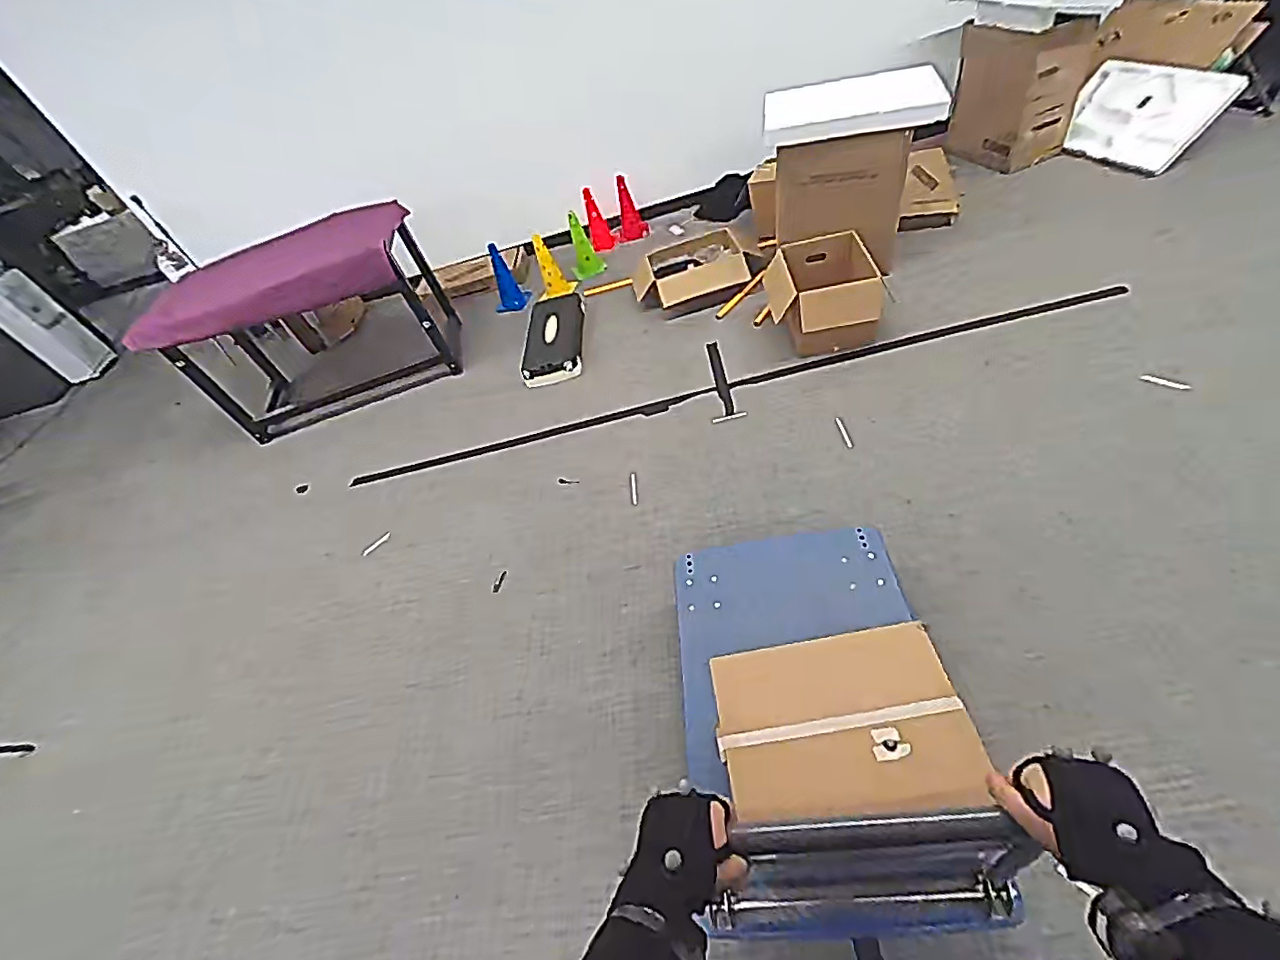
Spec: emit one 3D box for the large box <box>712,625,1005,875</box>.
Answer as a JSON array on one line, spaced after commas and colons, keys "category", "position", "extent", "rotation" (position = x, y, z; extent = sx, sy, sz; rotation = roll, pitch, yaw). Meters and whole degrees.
[{"category": "large box", "position": [0.376, 0.525, 1.038], "extent": [0.408, 0.320, 0.320], "rotation": [-12, 47, 6]}]
